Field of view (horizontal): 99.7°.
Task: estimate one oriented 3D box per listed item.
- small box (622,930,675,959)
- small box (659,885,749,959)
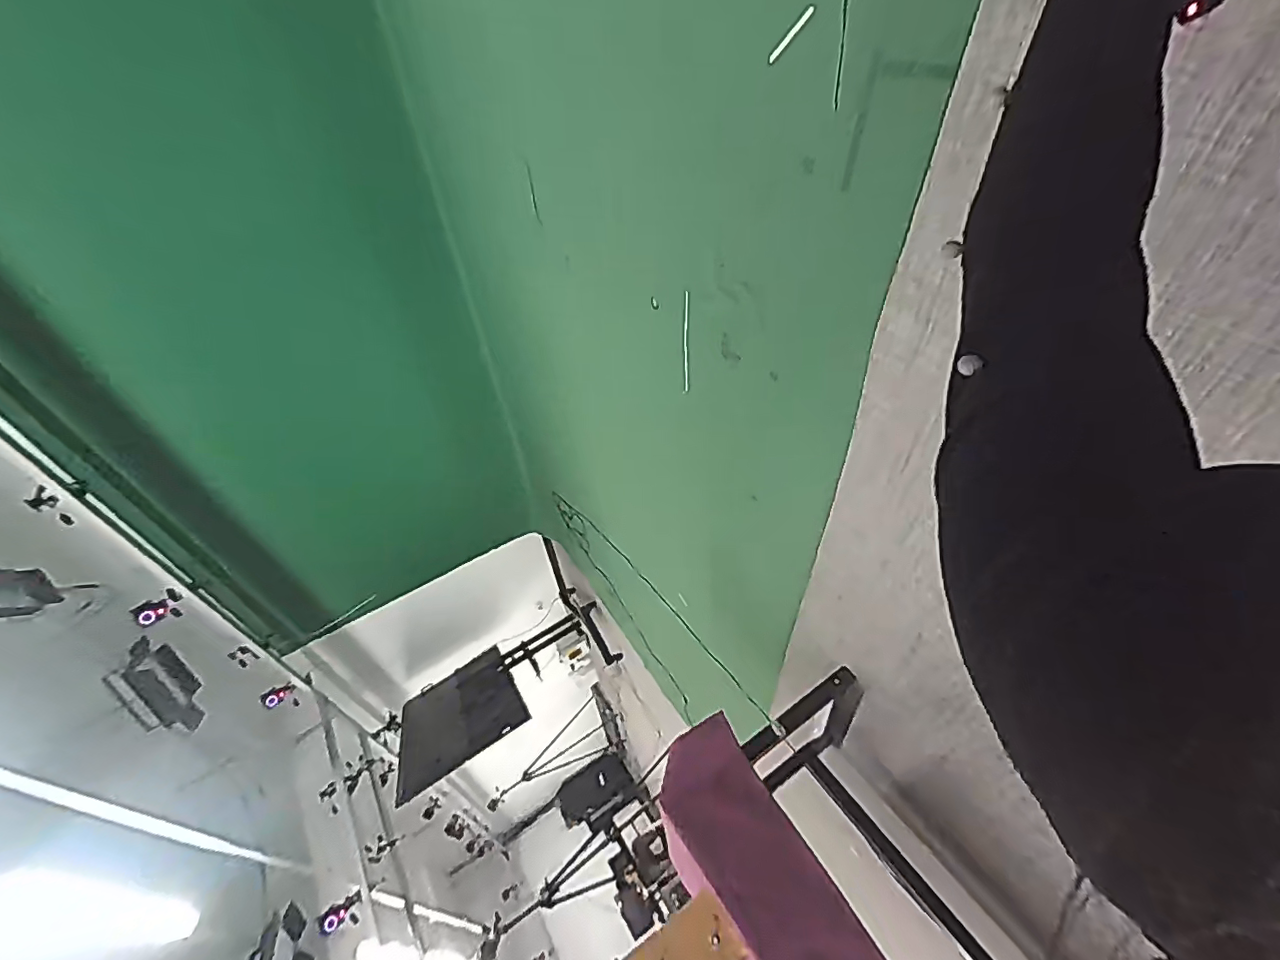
[{"bbox_3d":[0.028,1.274,1.355,0.168,0.176,0.179,48,155,37],"label":"small box"},{"bbox_3d":[0.166,1.204,1.411,0.168,0.176,0.179,48,155,35],"label":"small box"}]
